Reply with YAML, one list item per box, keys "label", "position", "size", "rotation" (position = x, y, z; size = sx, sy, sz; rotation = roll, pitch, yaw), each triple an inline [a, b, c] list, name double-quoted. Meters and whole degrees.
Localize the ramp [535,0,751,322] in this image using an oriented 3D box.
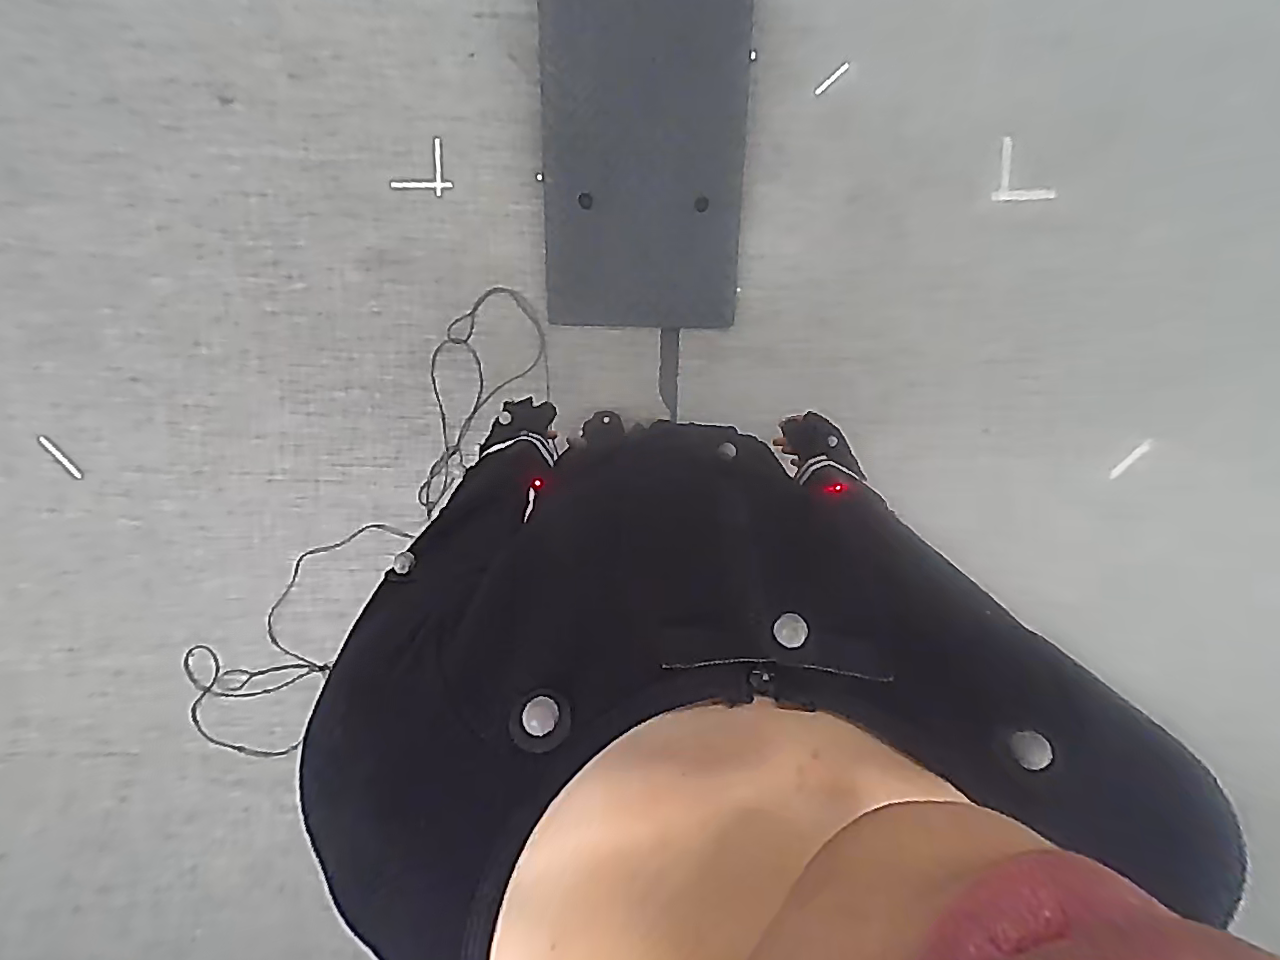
- label: "ramp"
  position: [0.007, -0.894, 1.276]
  size: [0.509, 0.206, 0.991]
  rotation: [-2, 98, -3]
